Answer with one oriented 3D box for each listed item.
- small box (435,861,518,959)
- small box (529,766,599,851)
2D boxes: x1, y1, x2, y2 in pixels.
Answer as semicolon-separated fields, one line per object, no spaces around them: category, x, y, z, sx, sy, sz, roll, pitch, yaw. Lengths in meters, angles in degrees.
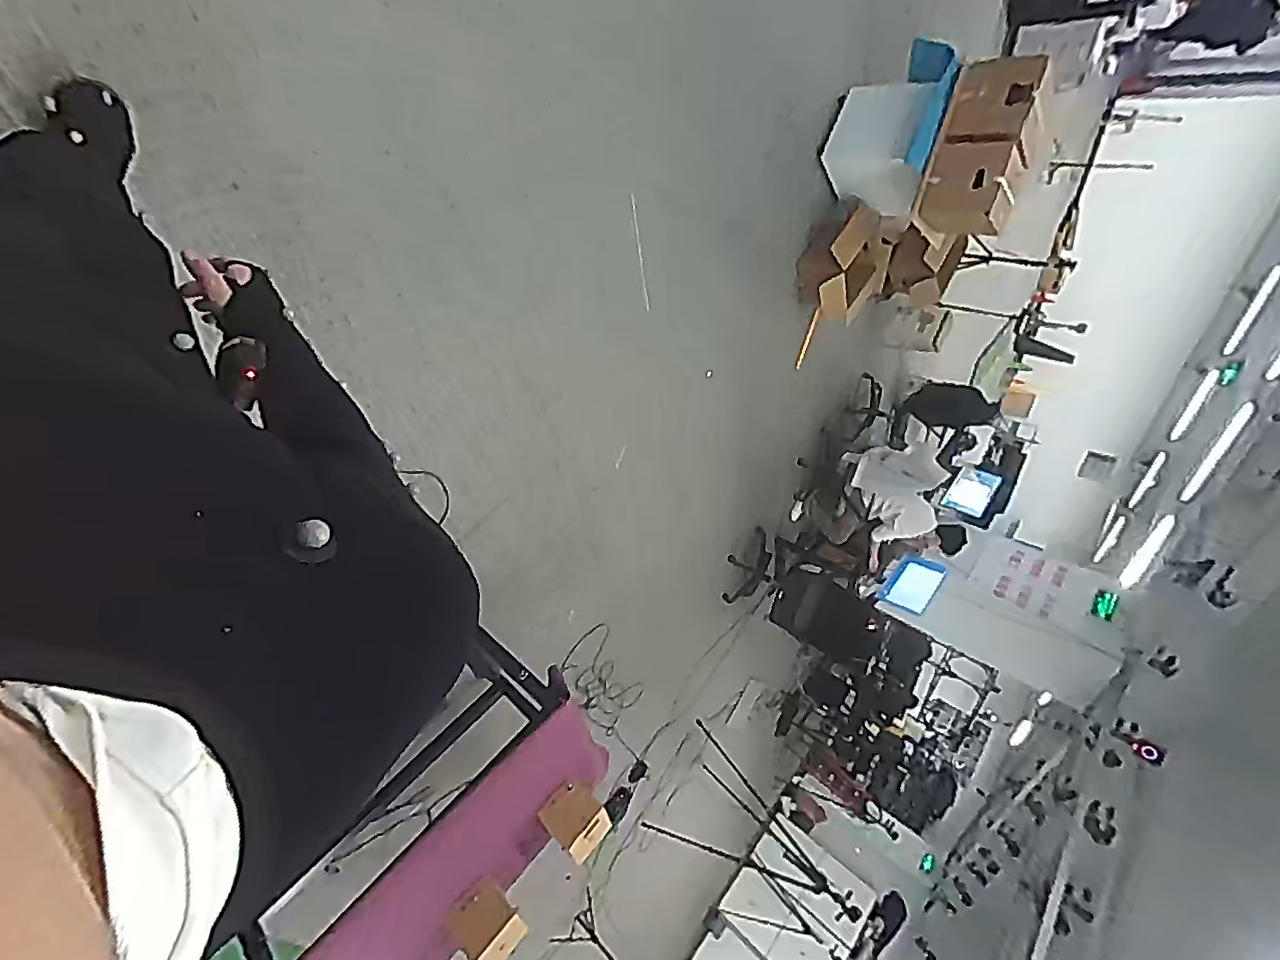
small box;-0.521;1.368;1.728;0.168;0.176;0.179;-38;138;-33
small box;-0.270;1.155;1.912;0.168;0.176;0.179;-38;139;-31
